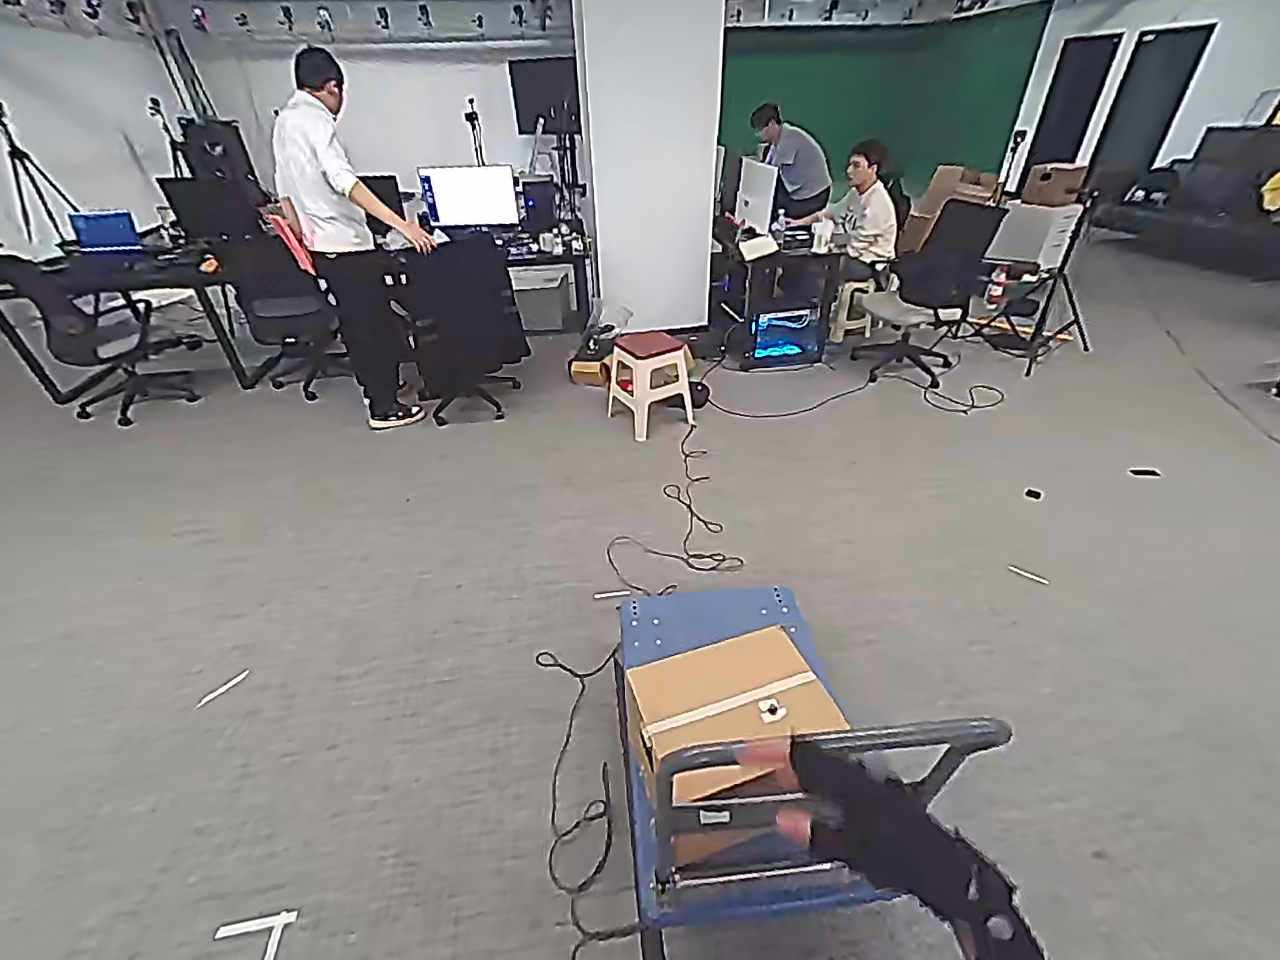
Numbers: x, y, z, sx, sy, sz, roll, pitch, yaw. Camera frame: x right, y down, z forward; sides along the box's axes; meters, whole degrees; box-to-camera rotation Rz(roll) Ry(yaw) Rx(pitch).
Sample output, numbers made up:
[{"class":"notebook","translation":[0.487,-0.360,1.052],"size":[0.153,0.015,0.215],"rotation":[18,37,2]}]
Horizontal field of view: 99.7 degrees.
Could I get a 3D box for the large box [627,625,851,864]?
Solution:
[{"class":"large box","translation":[0.207,0.605,1.265],"size":[0.408,0.320,0.320],"rotation":[-12,37,-15]}]
